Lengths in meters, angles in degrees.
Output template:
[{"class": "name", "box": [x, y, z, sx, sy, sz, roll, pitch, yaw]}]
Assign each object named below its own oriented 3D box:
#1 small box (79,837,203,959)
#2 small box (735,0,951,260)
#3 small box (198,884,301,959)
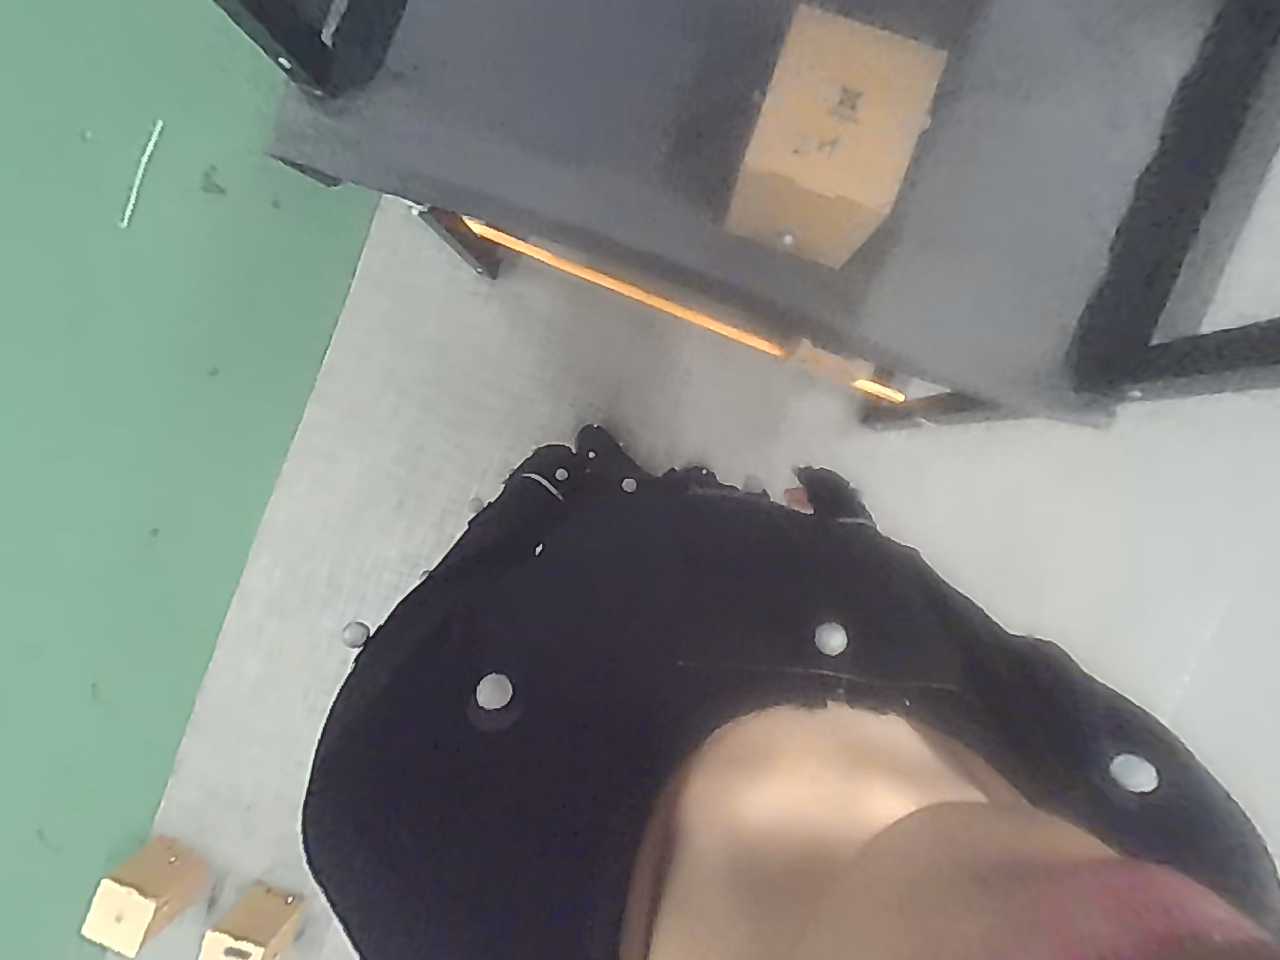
[{"class": "small box", "box": [-1.384, 1.158, 1.512, 0.168, 0.176, 0.179, 24, 93, 0]}, {"class": "small box", "box": [0.223, -0.397, 0.646, 0.168, 0.176, 0.179, 20, 92, 2]}, {"class": "small box", "box": [-1.085, 1.283, 1.504, 0.168, 0.176, 0.179, 18, 94, 2]}]
